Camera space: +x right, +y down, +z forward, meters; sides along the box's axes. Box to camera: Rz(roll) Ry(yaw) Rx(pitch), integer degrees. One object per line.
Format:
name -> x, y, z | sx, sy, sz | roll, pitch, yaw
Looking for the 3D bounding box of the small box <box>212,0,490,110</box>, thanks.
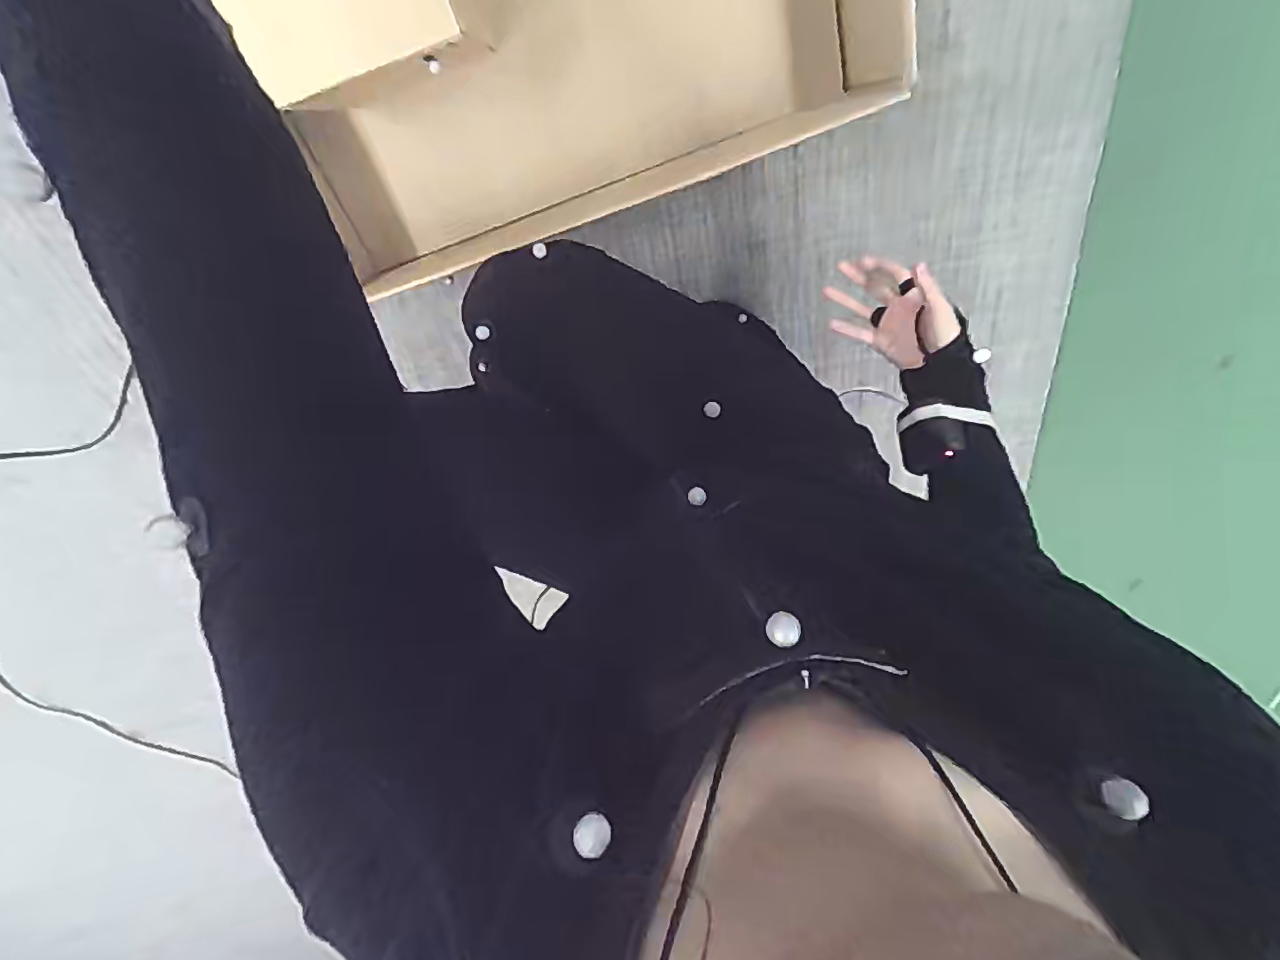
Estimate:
small box -> -0.254, -0.442, 0.470 | 0.179, 0.176, 0.168 | -17, 124, 7
